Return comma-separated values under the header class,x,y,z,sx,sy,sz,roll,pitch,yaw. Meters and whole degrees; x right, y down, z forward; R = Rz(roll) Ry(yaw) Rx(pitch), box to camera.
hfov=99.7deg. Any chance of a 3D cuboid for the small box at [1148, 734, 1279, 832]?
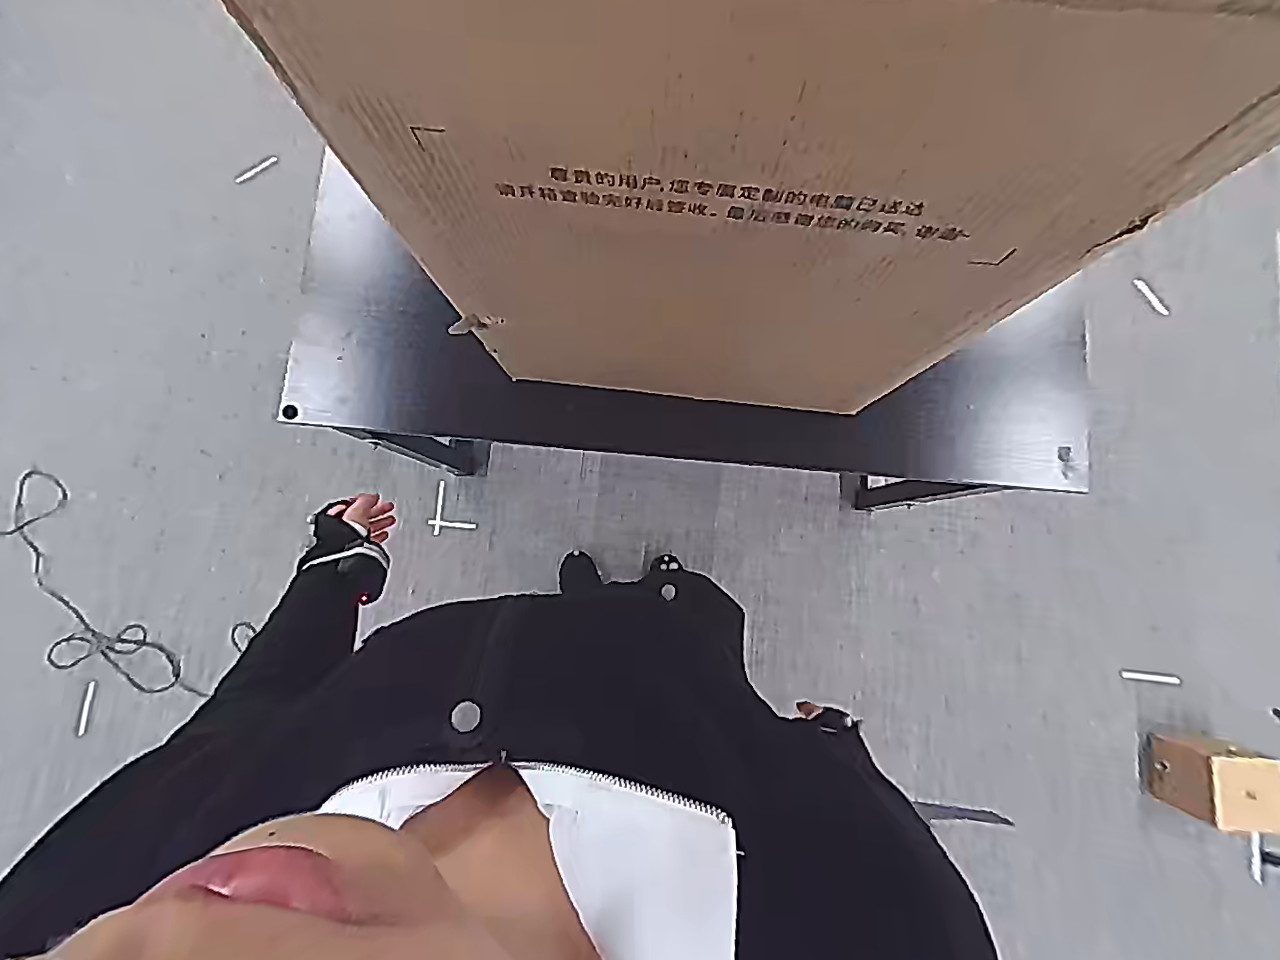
class,x,y,z,sx,sy,sz,roll,pitch,yaw
small box,1.437,0.749,1.353,0.179,0.176,0.168,2,82,2
